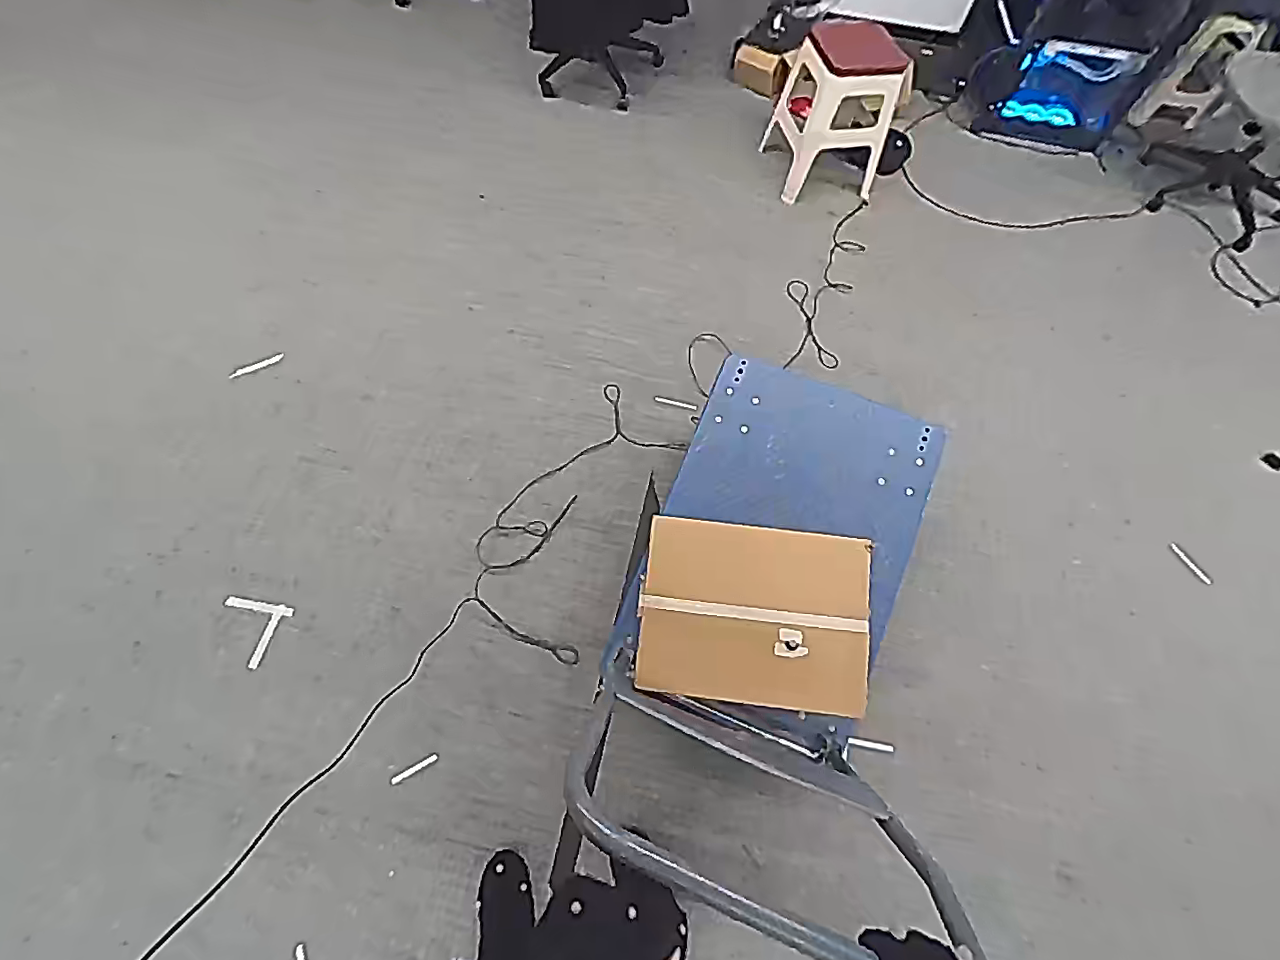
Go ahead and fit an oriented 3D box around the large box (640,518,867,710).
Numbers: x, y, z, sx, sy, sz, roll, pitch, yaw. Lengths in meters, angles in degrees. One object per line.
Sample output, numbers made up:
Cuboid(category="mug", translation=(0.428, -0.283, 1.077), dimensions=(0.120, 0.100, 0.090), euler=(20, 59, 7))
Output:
Cuboid(category="large box", translation=(0.211, 0.268, 1.124), dimensions=(0.408, 0.320, 0.320), euler=(6, 79, 2))
